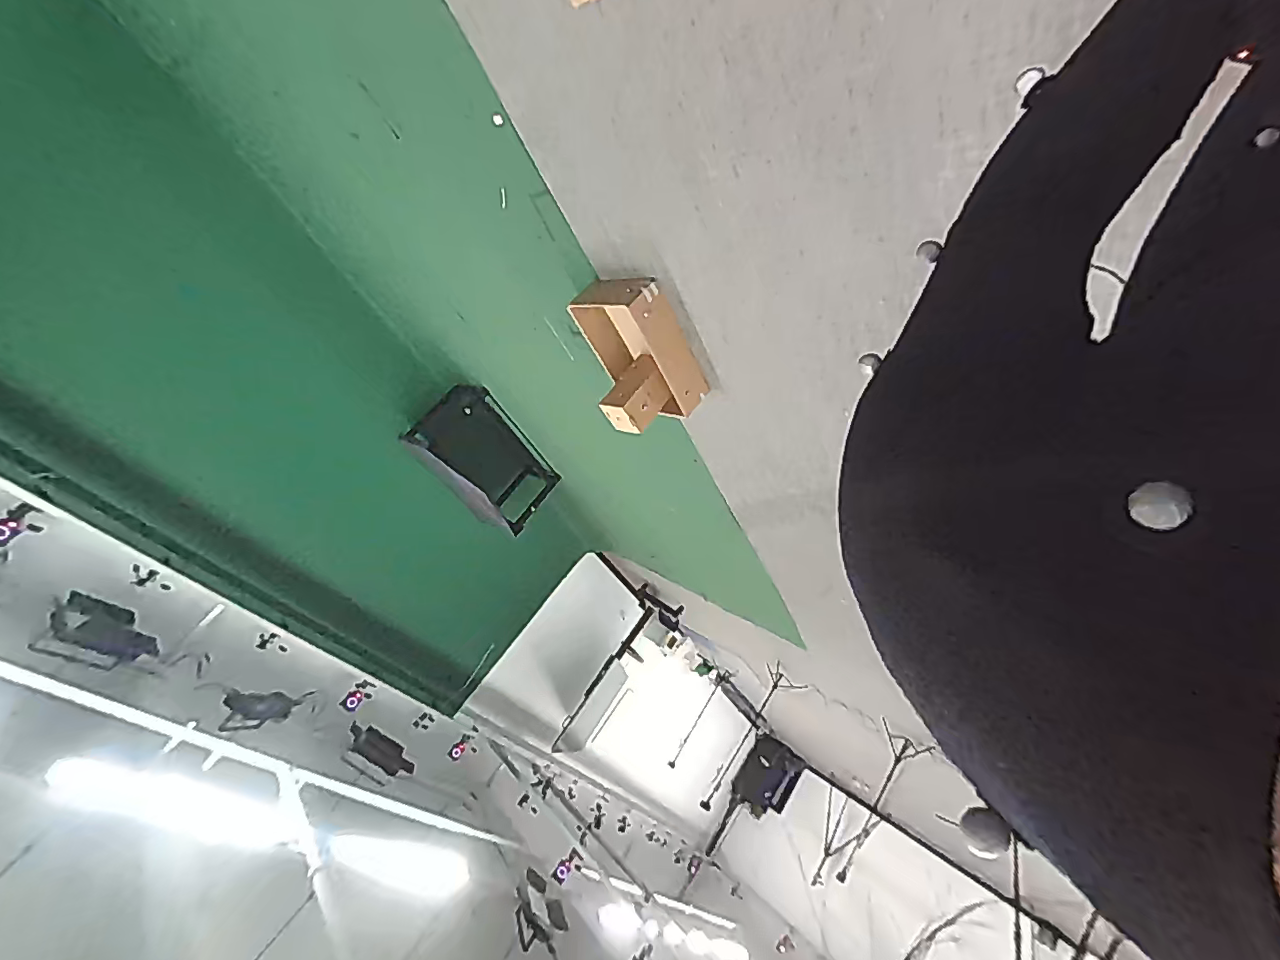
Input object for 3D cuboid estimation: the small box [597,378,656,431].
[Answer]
[{"bbox_3d":[-0.050,-0.341,2.413,0.179,0.176,0.168,15,150,46],"label":"small box"}]
